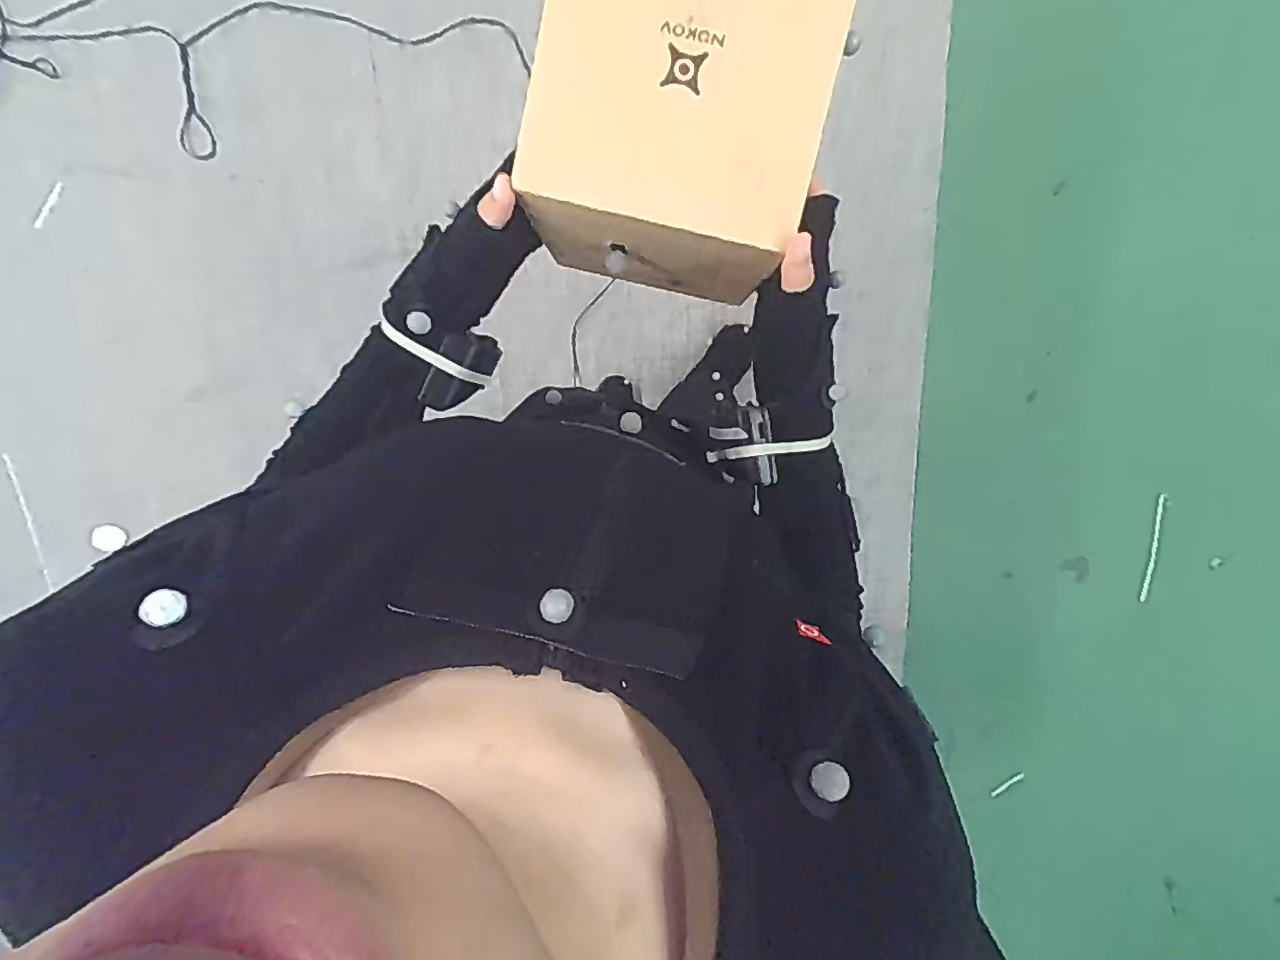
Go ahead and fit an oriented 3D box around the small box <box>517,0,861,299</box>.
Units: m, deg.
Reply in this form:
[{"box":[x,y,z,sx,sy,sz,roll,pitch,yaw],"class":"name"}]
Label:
[{"box":[0.030,-0.239,0.371,0.168,0.176,0.179,13,96,-1],"class":"small box"}]
